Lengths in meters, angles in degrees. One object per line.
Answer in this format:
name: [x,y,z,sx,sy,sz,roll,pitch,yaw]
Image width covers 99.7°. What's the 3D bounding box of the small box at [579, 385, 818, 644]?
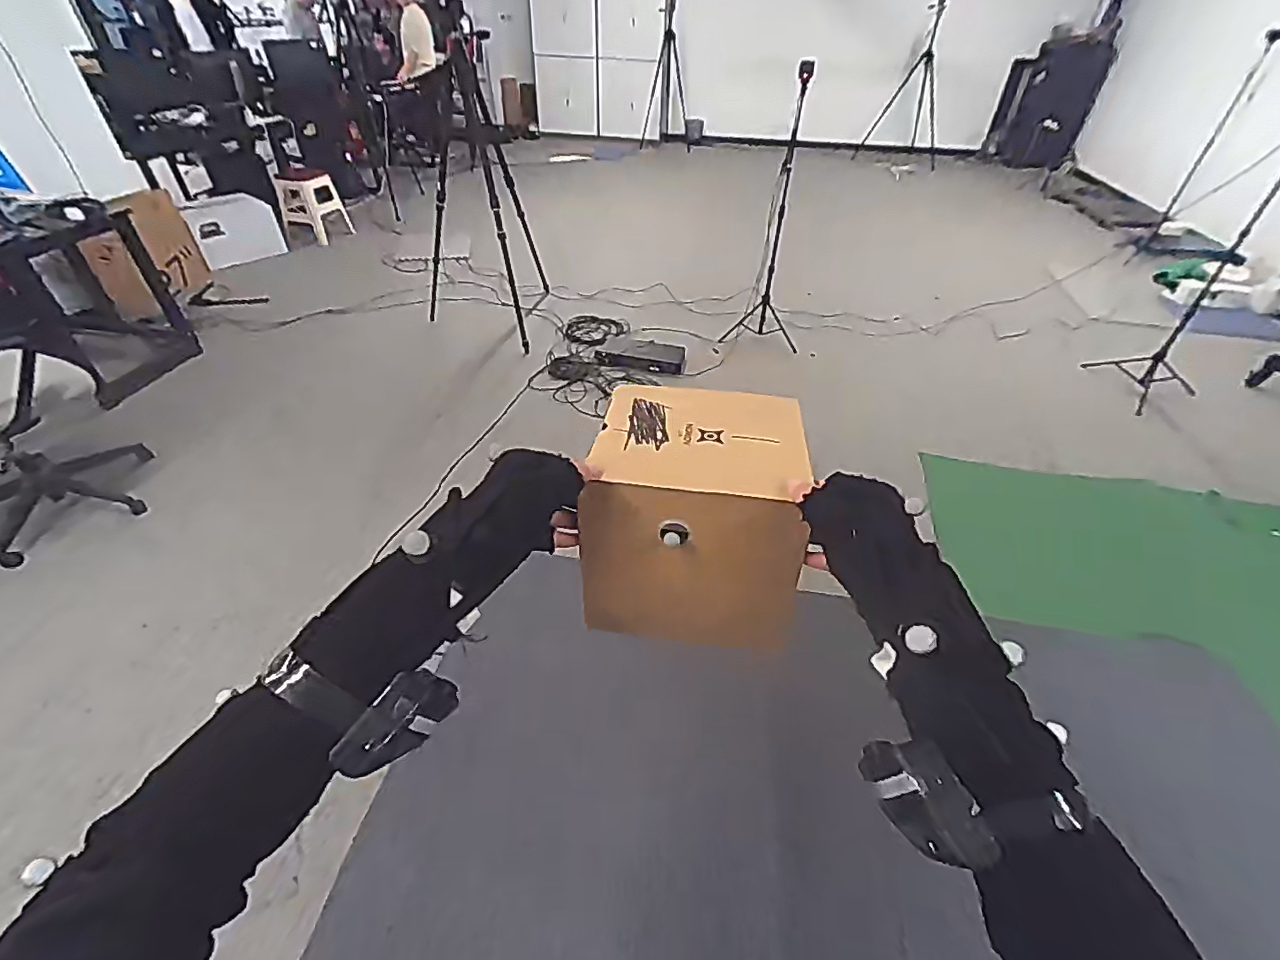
small box: [0.051,0.028,0.495,0.179,0.176,0.168,6,36,6]
